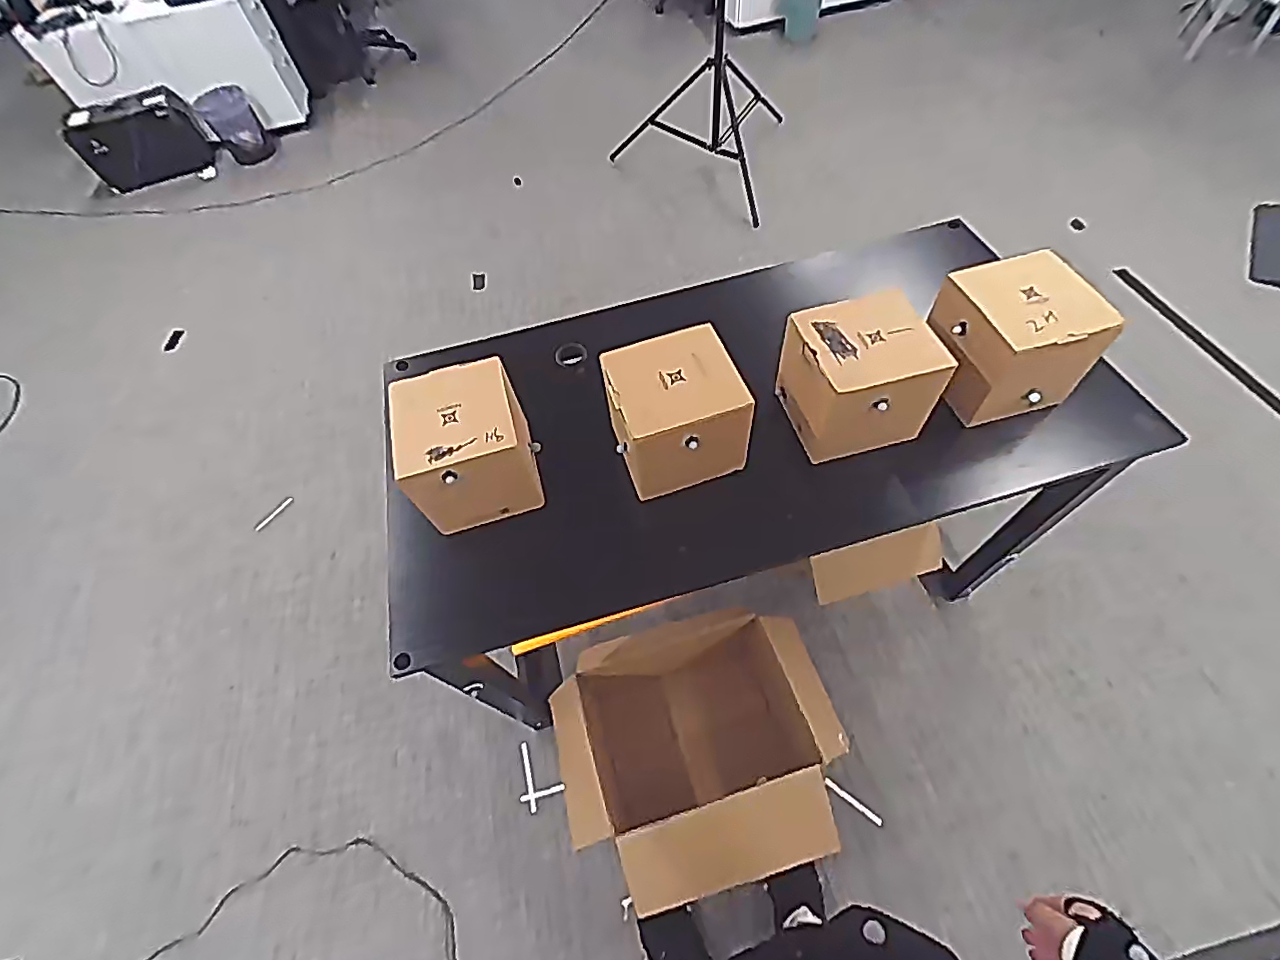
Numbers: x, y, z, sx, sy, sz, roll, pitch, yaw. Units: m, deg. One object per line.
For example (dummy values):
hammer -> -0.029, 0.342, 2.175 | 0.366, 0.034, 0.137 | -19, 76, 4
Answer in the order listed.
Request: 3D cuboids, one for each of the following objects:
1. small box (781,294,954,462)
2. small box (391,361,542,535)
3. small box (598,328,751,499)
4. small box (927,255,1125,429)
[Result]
small box -> 0.325, -0.148, 0.822 | 0.179, 0.176, 0.168 | -13, 58, -4
small box -> -0.256, -0.044, 0.815 | 0.168, 0.176, 0.179 | -16, 58, -5
small box -> 0.051, -0.094, 0.818 | 0.179, 0.176, 0.168 | -17, 59, -6
small box -> 0.563, -0.209, 0.835 | 0.168, 0.176, 0.179 | -15, 58, -2
